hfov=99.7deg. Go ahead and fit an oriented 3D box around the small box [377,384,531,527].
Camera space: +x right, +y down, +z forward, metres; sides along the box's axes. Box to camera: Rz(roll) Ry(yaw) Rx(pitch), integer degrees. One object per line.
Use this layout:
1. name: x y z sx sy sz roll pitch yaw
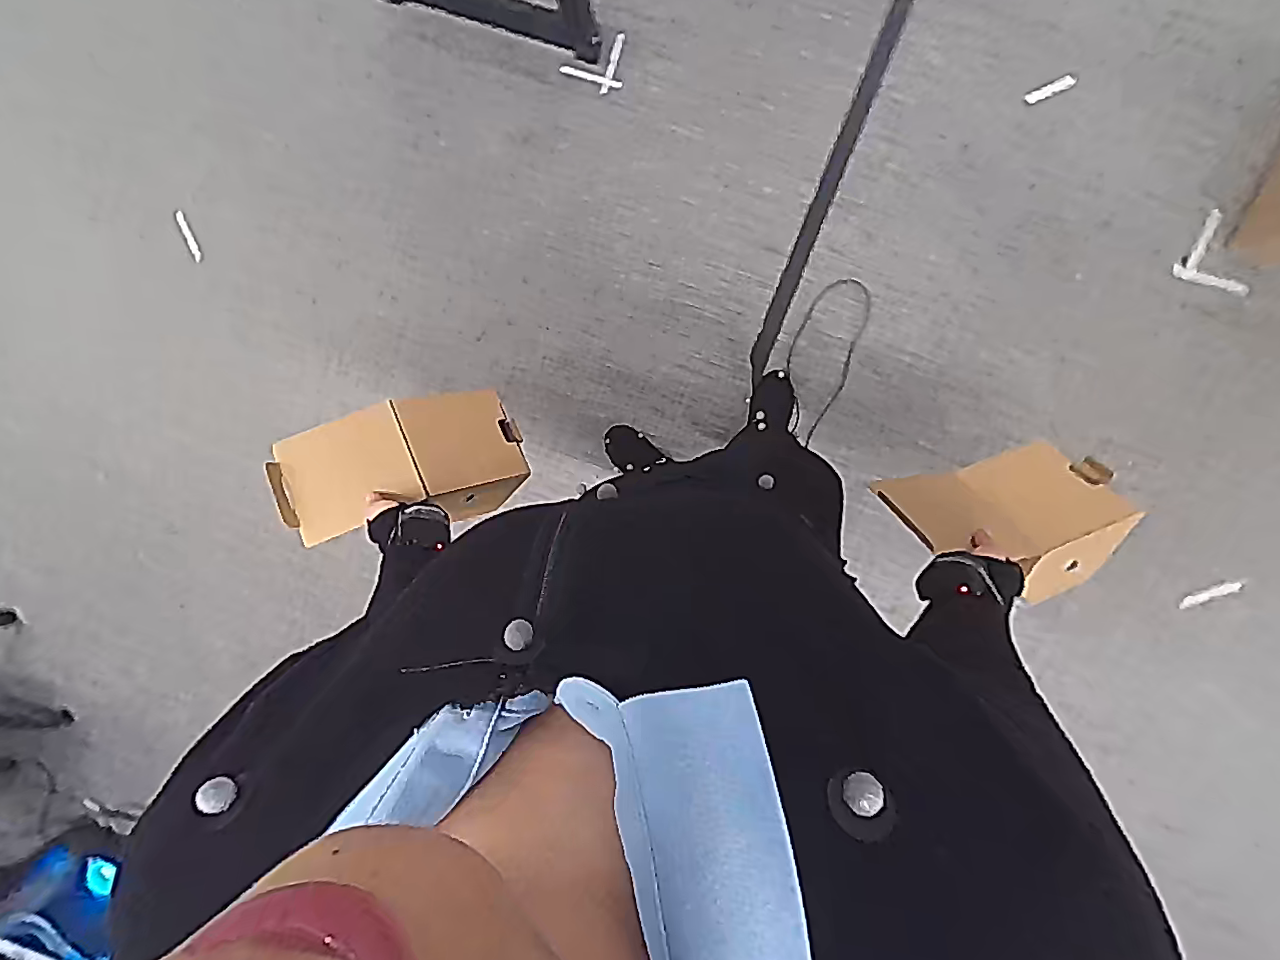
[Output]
1. small box: -0.312 -0.038 0.882 0.176 0.179 0.168 -35 75 47
